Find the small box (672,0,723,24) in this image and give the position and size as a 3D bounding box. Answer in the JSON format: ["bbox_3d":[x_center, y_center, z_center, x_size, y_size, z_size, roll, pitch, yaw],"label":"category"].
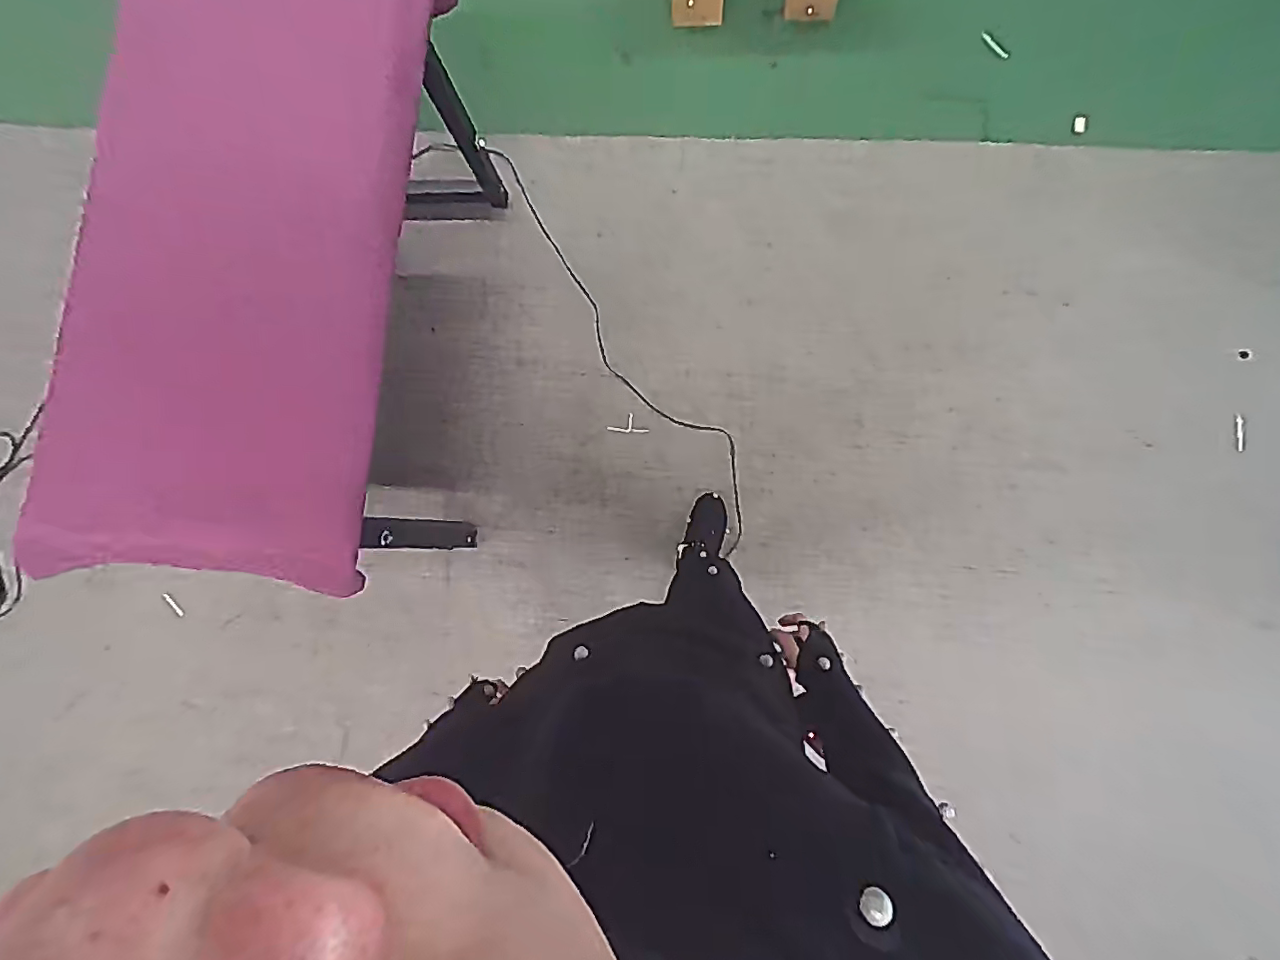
[{"bbox_3d":[0.187,-1.623,1.749,0.168,0.176,0.179,2,83,5],"label":"small box"}]
